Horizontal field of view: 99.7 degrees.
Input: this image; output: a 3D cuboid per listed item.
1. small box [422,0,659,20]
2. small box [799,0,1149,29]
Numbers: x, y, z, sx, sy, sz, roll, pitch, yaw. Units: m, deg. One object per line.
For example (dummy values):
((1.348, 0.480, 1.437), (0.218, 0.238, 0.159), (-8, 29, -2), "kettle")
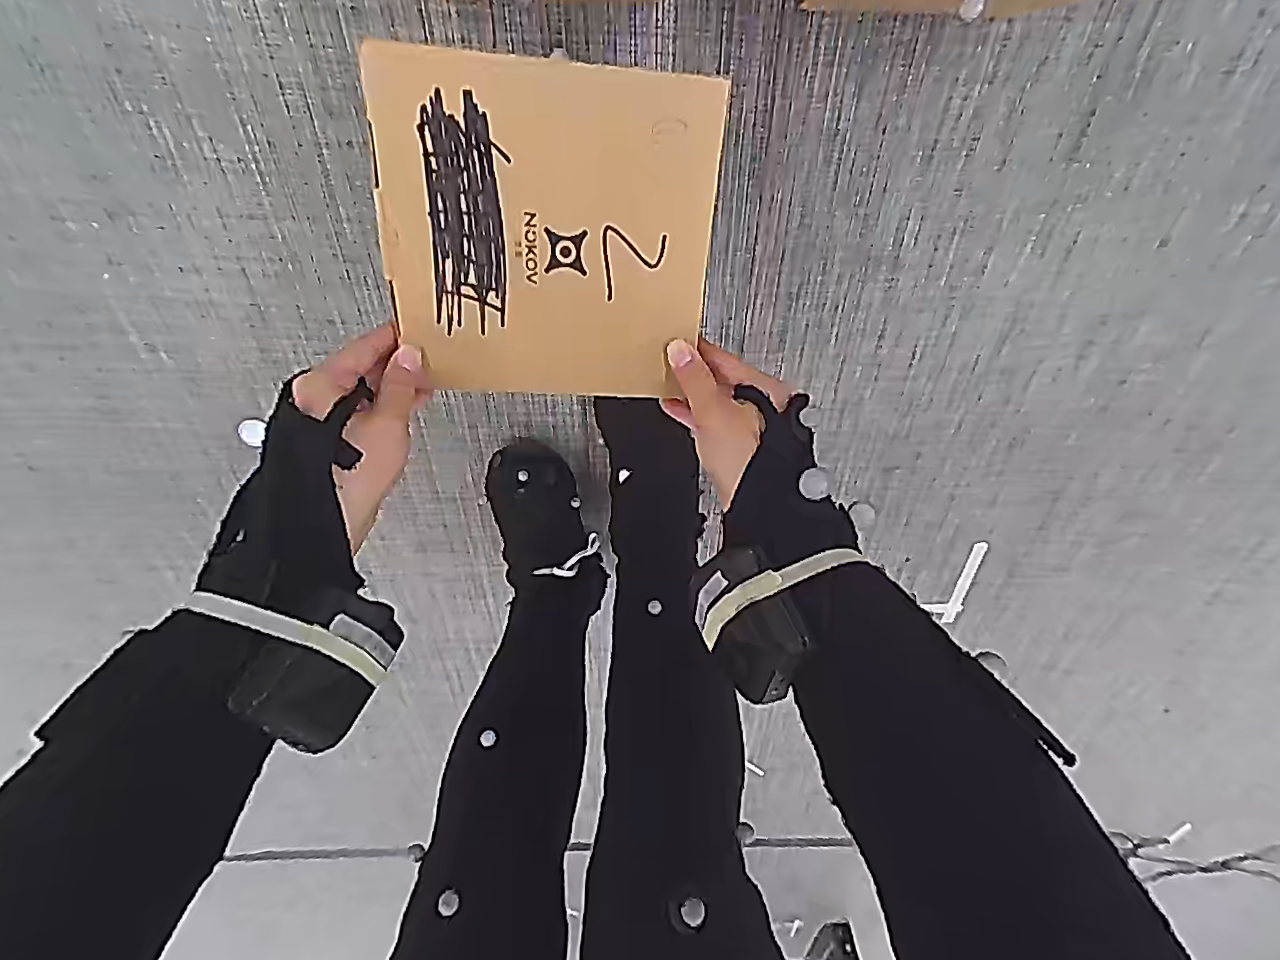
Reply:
((-0.067, -0.393, 0.323), (0.179, 0.176, 0.168), (0, 125, -1), "small box")
((0.218, -0.395, 0.334), (0.179, 0.176, 0.168), (1, 126, -2), "small box")
